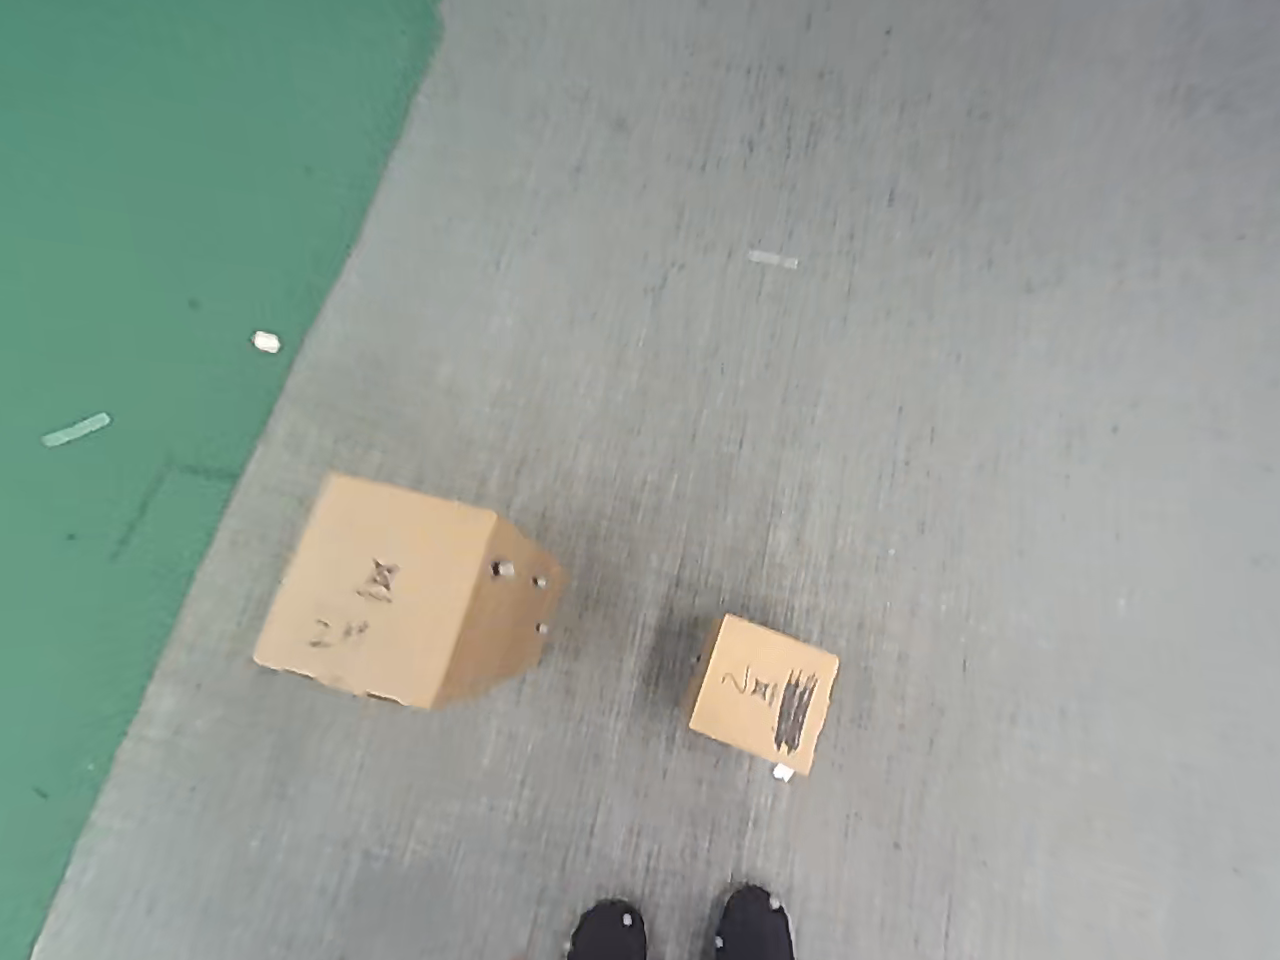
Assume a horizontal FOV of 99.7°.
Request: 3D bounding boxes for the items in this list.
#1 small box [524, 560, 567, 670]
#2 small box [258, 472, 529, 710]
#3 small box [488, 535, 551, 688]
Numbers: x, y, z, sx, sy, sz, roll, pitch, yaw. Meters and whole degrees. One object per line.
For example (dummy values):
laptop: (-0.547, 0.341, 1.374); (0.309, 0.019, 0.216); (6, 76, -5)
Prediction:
small box: (-0.225, 0.199, 0.866); (0.168, 0.176, 0.179); (16, 75, 5)
small box: (-0.224, 0.114, 0.550); (0.168, 0.176, 0.179); (13, 74, 6)
small box: (-0.224, 0.156, 0.709); (0.168, 0.176, 0.179); (13, 76, 5)
